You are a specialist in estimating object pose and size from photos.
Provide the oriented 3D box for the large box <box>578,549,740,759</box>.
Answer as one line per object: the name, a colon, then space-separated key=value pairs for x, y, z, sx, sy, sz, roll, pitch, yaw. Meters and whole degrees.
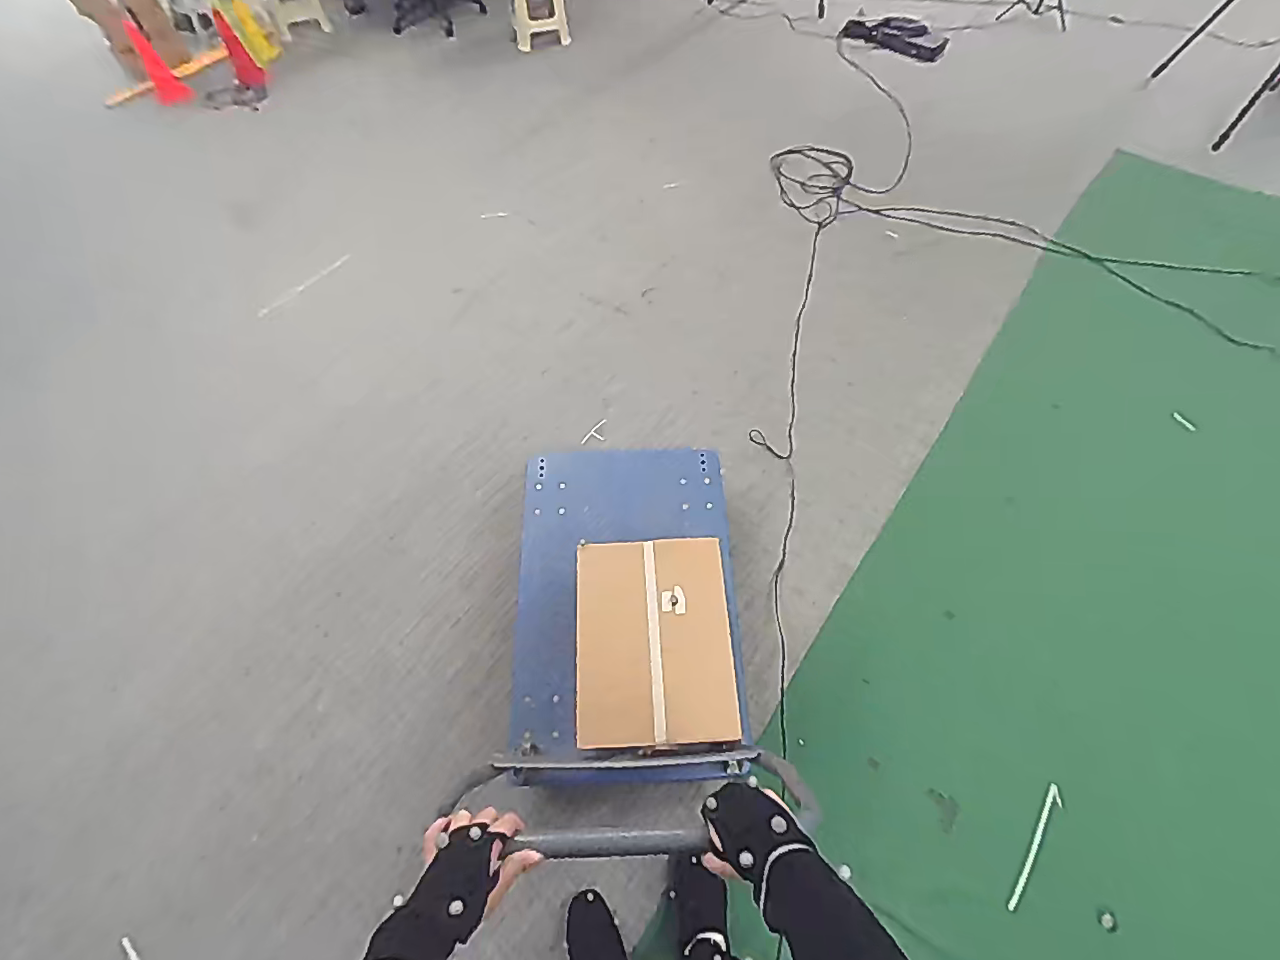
large box: x=0.031 y=0.408 z=1.246 sx=0.320 sy=0.320 sz=0.408 roll=-3 pitch=63 yaw=-1
